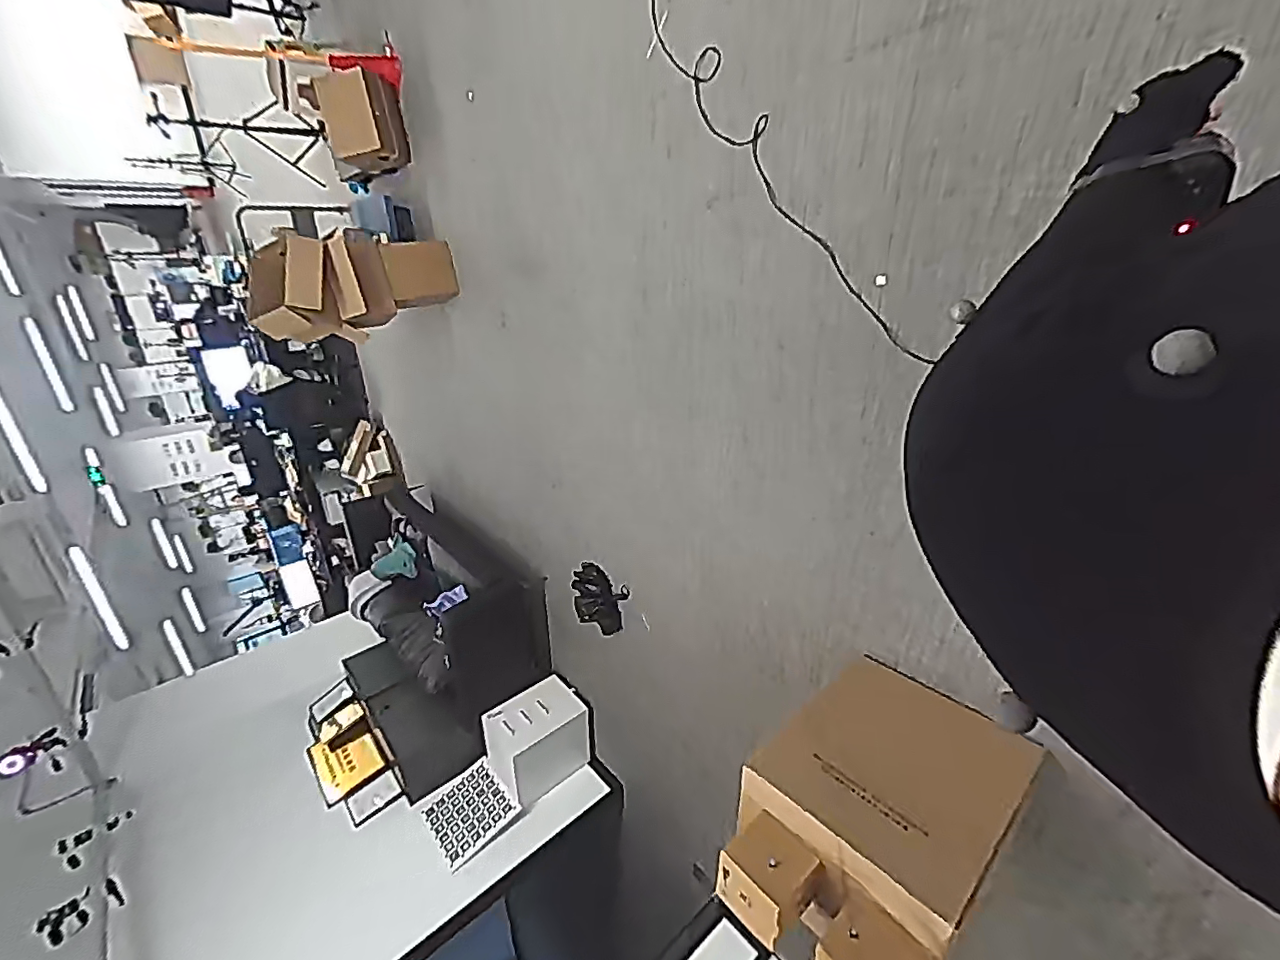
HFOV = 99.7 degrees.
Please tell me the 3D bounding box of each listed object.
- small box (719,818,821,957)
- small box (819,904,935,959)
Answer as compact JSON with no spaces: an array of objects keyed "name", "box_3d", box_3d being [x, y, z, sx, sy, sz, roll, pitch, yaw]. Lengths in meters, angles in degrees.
[{"name":"small box","box_3d":[0.318,0.982,1.322,0.179,0.176,0.168,22,119,43]},{"name":"small box","box_3d":[0.493,1.052,1.141,0.179,0.176,0.168,19,118,44]}]
